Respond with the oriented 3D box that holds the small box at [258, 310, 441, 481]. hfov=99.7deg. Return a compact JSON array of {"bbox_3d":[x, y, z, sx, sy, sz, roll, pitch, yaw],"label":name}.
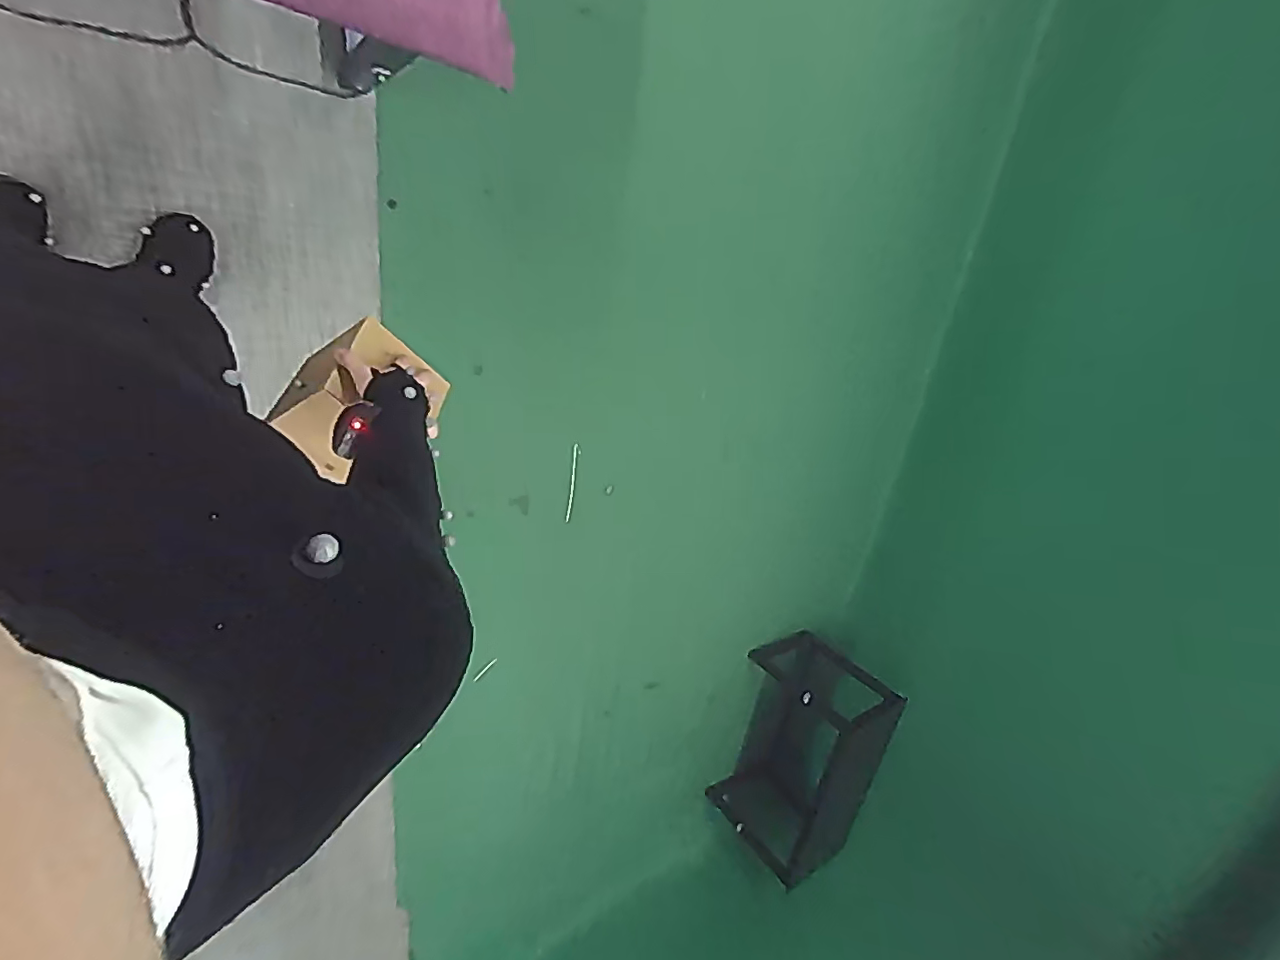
[{"bbox_3d":[-0.455,-0.124,0.854,0.176,0.179,0.168,-20,135,26],"label":"small box"}]
